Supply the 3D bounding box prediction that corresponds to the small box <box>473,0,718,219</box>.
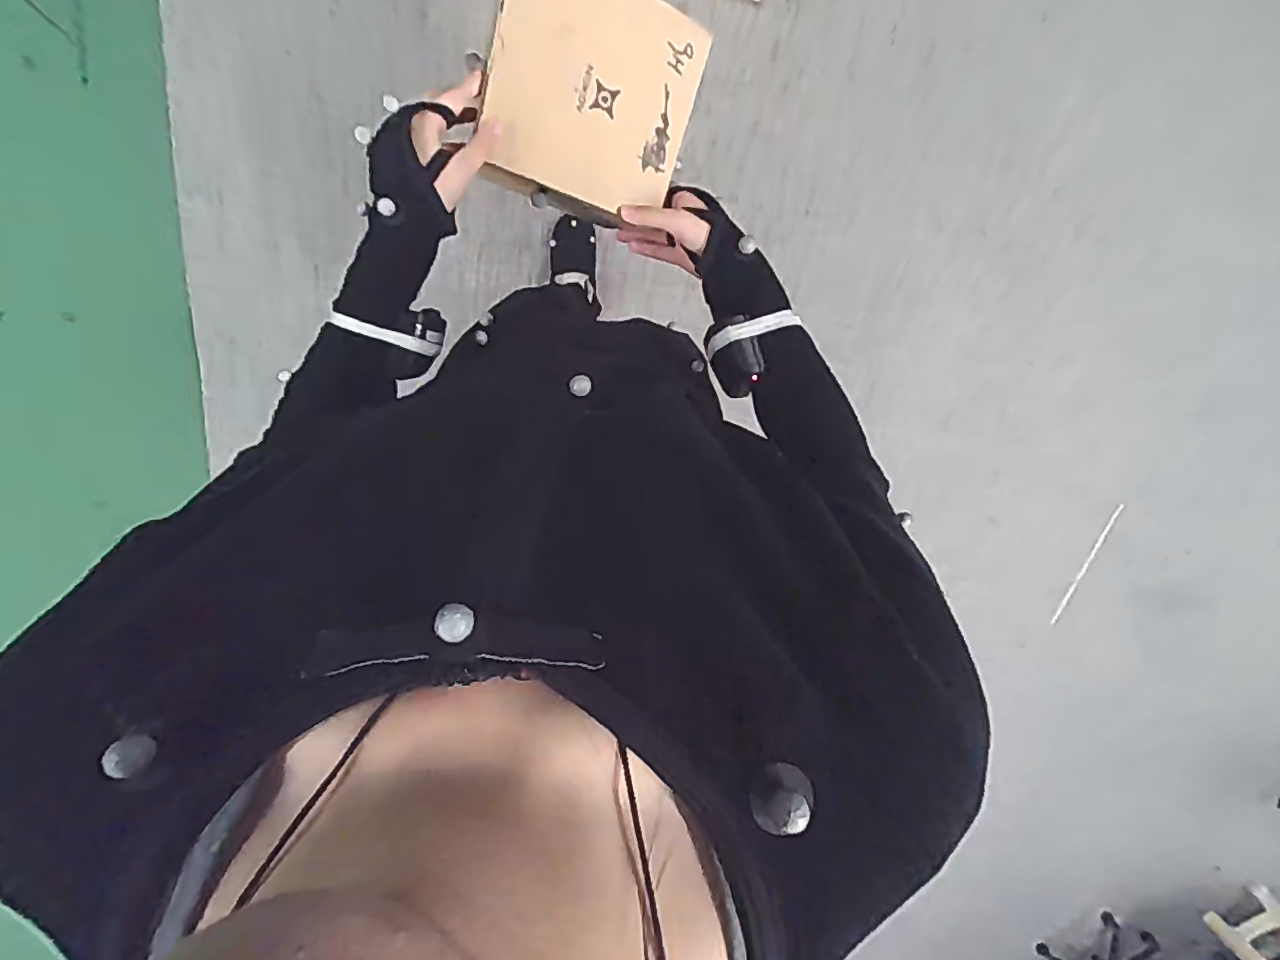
[{"bbox_3d":[-0.058,-0.365,0.524,0.179,0.176,0.168,11,111,-22],"label":"small box"}]
